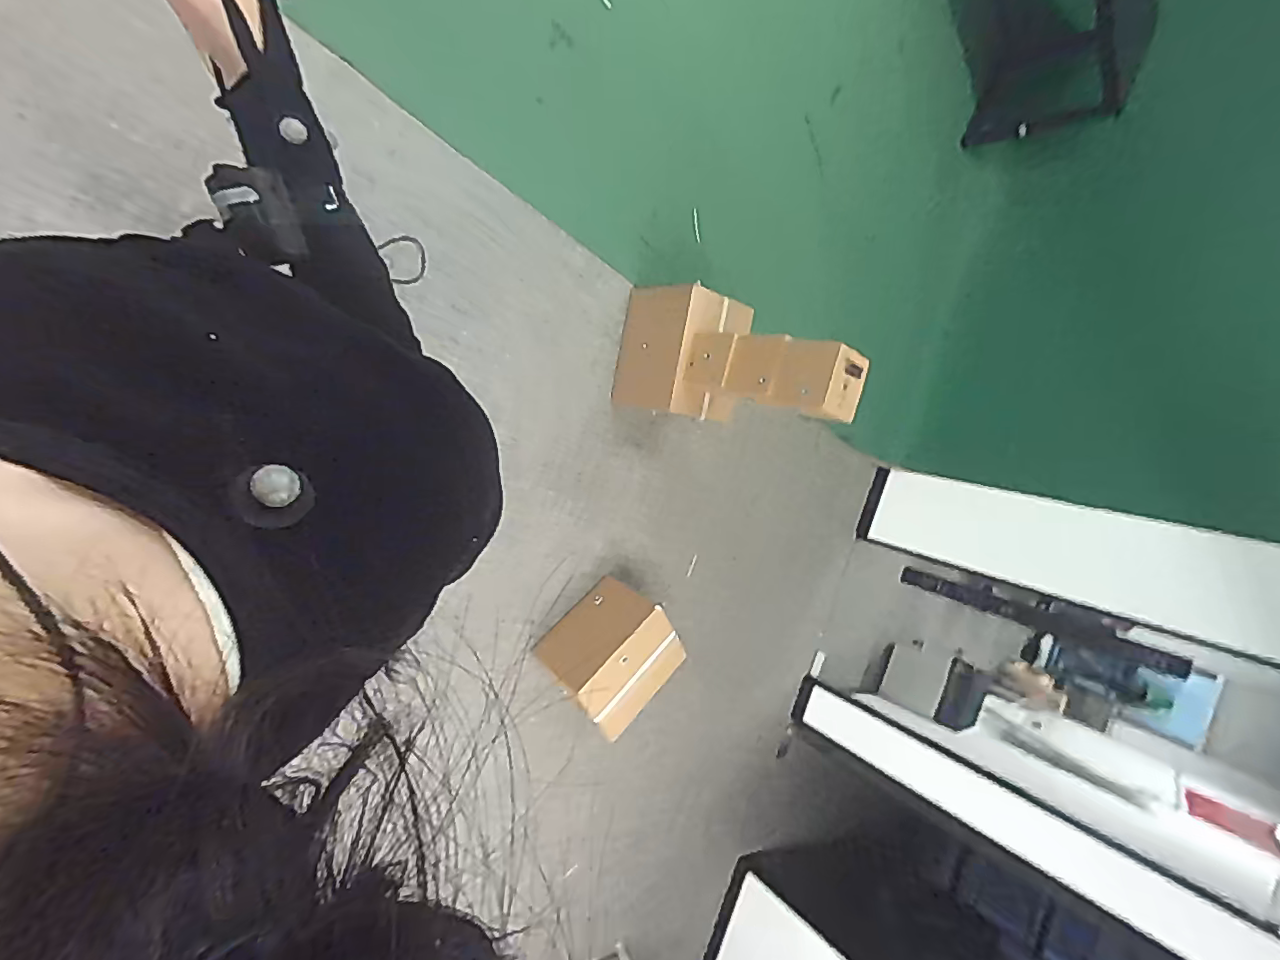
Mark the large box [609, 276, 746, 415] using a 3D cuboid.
[{"bbox_3d":[0.125,-0.455,1.887,0.320,0.320,0.408,3,100,-44],"label":"large box"}]

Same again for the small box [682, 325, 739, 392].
[{"bbox_3d":[0.259,-0.376,1.693,0.179,0.176,0.168,11,96,-43],"label":"small box"}]

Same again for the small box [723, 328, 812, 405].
[{"bbox_3d":[0.368,-0.335,1.581,0.168,0.176,0.179,13,95,-43],"label":"small box"}]
